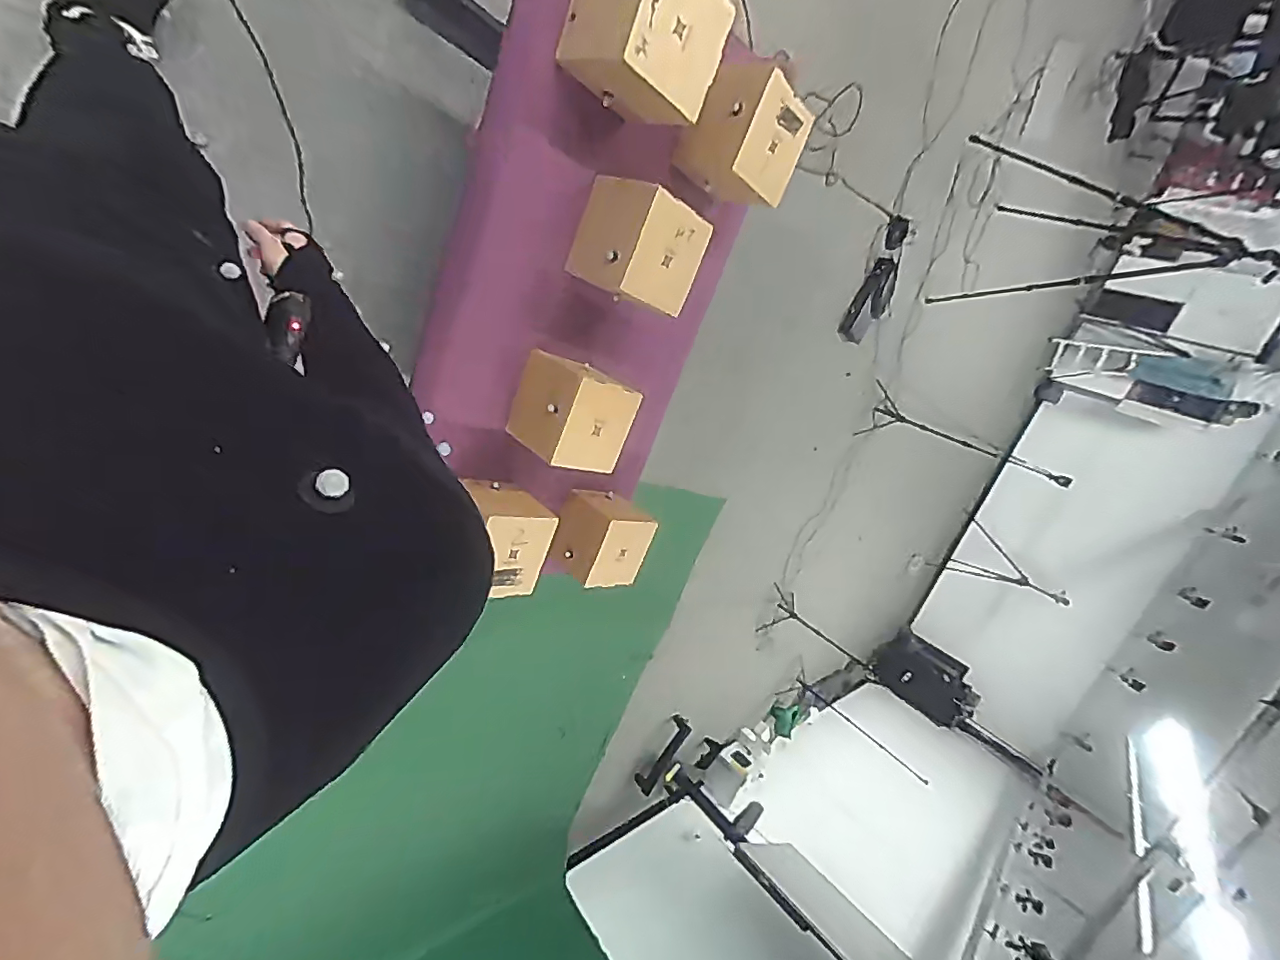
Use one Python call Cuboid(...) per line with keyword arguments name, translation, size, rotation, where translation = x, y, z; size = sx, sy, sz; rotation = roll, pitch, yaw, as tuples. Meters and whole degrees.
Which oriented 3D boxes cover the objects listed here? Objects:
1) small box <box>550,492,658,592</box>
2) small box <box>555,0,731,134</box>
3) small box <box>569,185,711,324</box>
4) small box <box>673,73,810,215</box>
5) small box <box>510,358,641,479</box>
Cuboid(name="small box", translation=(-0.093, 0.149, 1.305), size=(0.168, 0.176, 0.179), rotation=(9, 108, -48))
Cuboid(name="small box", translation=(0.002, -0.668, 0.831), size=(0.179, 0.176, 0.168), rotation=(2, 114, -50))
Cuboid(name="small box", translation=(-0.007, -0.416, 1.002), size=(0.168, 0.176, 0.179), rotation=(7, 111, -49))
Cuboid(name="small box", translation=(0.192, -0.649, 1.051), size=(0.168, 0.176, 0.179), rotation=(6, 112, -48))
Cuboid(name="small box", translation=(-0.134, -0.121, 1.077), size=(0.168, 0.176, 0.179), rotation=(7, 109, -49))
